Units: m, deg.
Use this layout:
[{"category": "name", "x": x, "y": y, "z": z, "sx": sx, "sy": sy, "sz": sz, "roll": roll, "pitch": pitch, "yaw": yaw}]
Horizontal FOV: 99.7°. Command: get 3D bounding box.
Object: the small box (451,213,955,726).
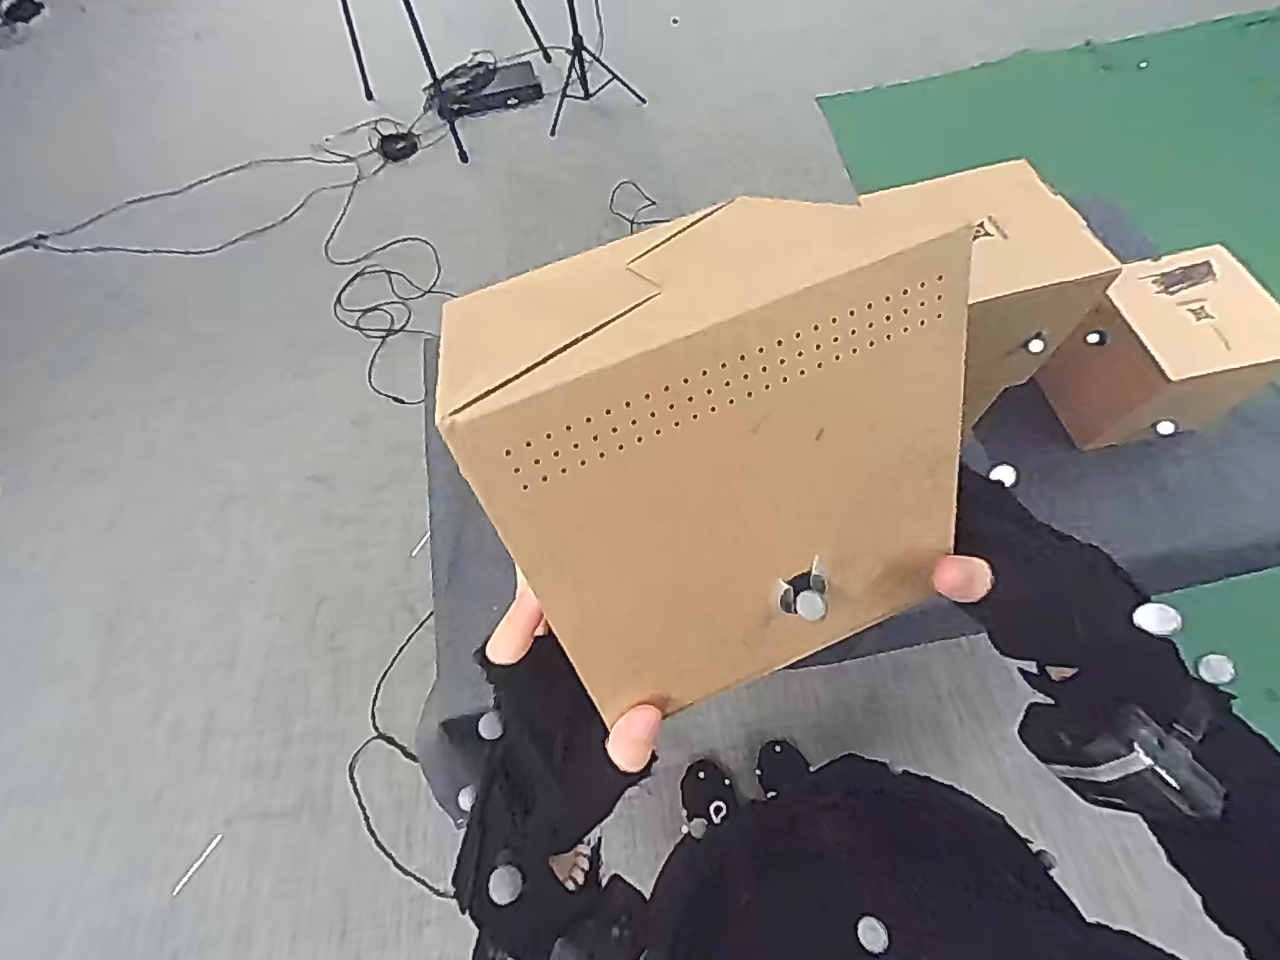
[{"category": "small box", "x": 0.027, "y": -0.023, "z": 0.272, "sx": 0.179, "sy": 0.176, "sz": 0.168, "roll": -22, "pitch": 33, "yaw": -6}]
